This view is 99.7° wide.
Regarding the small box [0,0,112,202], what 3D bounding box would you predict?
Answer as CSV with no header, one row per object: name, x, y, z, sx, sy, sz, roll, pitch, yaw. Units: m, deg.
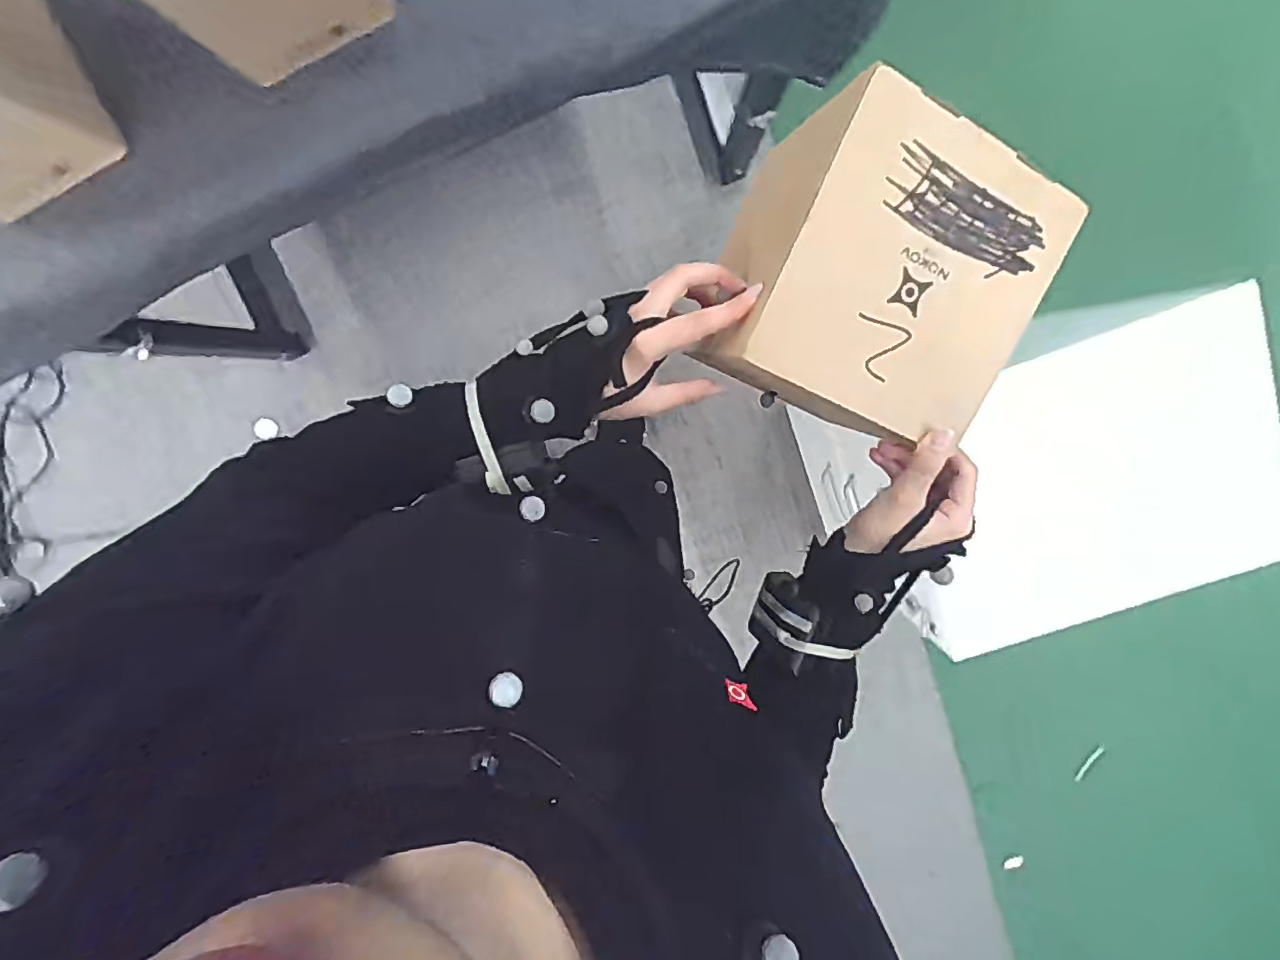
small box,-0.647,-0.373,0.477,0.168,0.176,0.179,-24,100,3

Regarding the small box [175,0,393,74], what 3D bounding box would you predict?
small box,-0.347,-0.501,0.451,0.168,0.176,0.179,-23,99,5
